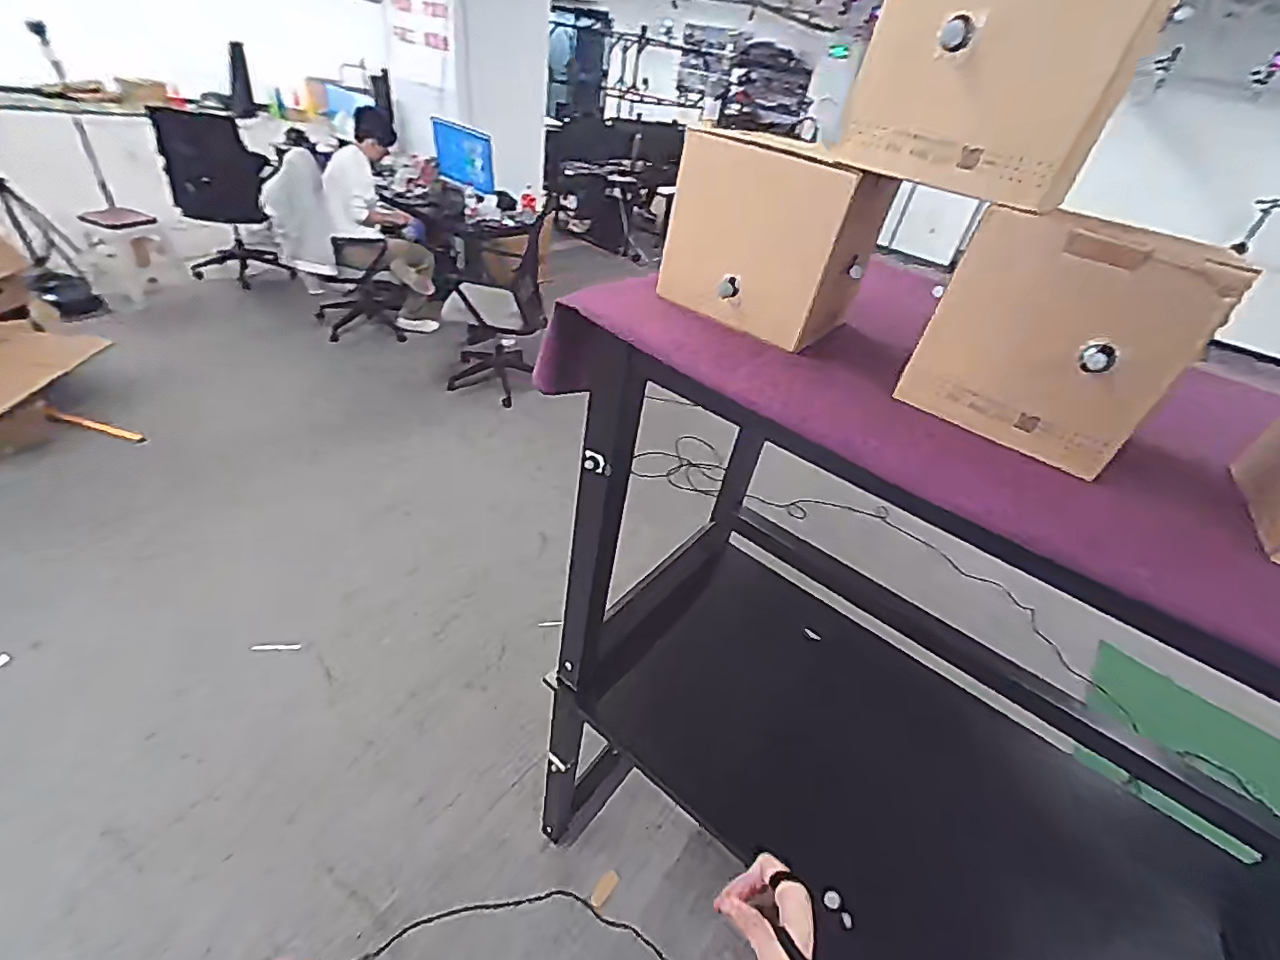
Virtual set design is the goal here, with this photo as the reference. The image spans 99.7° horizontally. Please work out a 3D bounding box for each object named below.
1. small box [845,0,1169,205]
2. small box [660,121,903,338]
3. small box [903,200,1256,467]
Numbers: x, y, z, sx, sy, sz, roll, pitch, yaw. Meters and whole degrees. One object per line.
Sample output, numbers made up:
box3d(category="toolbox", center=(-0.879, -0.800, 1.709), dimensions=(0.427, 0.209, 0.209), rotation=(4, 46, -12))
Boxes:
box3d(category="small box", center=(0.289, -0.329, 0.434), dimensions=(0.168, 0.176, 0.179), rotation=(32, 40, 25))
box3d(category="small box", center=(0.146, -0.266, 0.583), dimensions=(0.179, 0.176, 0.168), rotation=(31, 40, 22))
box3d(category="small box", center=(0.360, -0.136, 0.473), dimensions=(0.168, 0.176, 0.179), rotation=(33, 41, 26))
